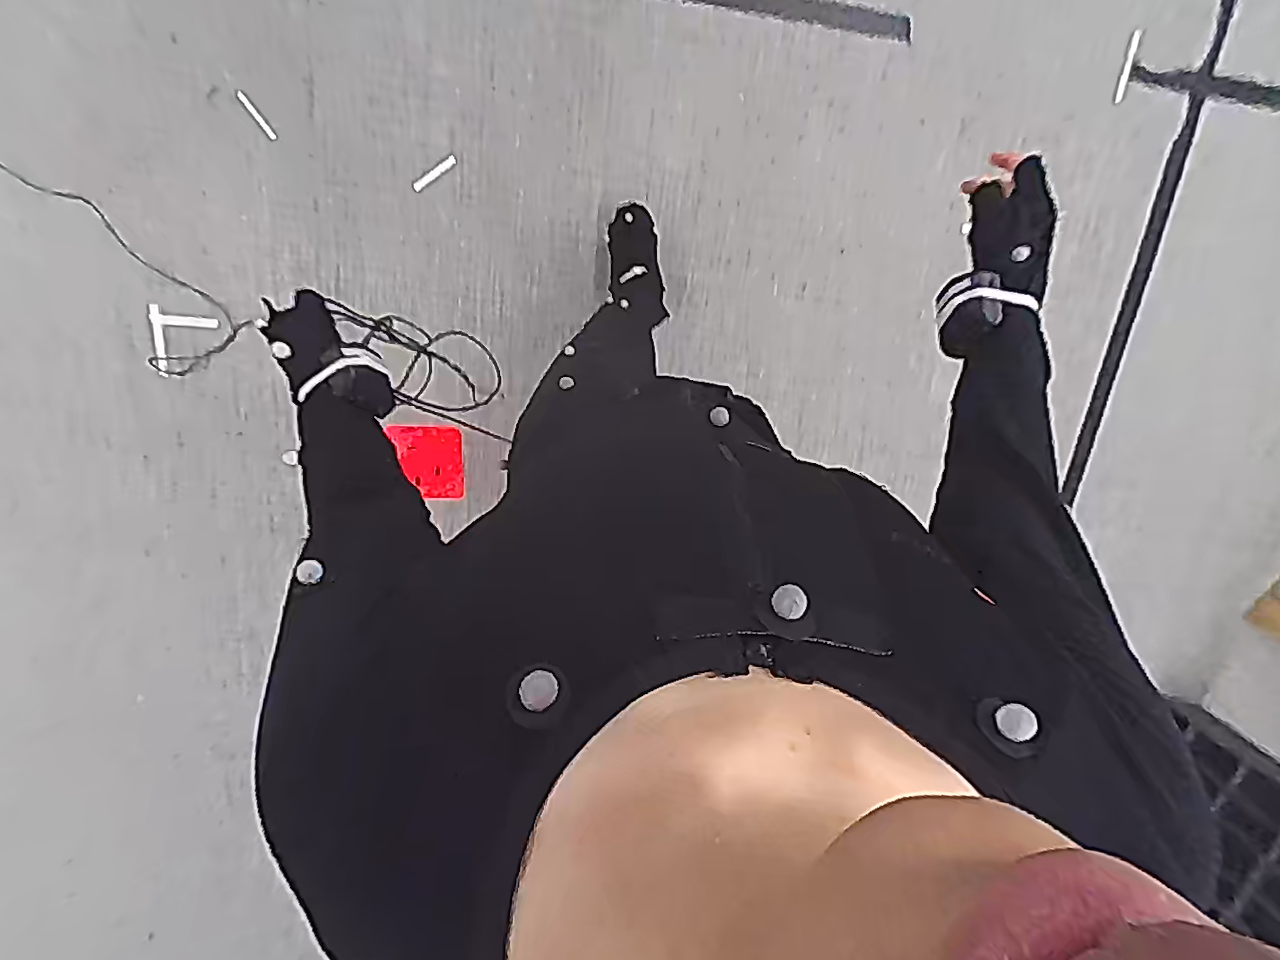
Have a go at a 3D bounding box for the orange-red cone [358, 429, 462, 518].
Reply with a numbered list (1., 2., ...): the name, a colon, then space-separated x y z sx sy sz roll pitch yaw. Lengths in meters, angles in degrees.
1. orange-red cone: -0.558 0.011 1.253 0.199 0.360 0.198 2 105 -4
